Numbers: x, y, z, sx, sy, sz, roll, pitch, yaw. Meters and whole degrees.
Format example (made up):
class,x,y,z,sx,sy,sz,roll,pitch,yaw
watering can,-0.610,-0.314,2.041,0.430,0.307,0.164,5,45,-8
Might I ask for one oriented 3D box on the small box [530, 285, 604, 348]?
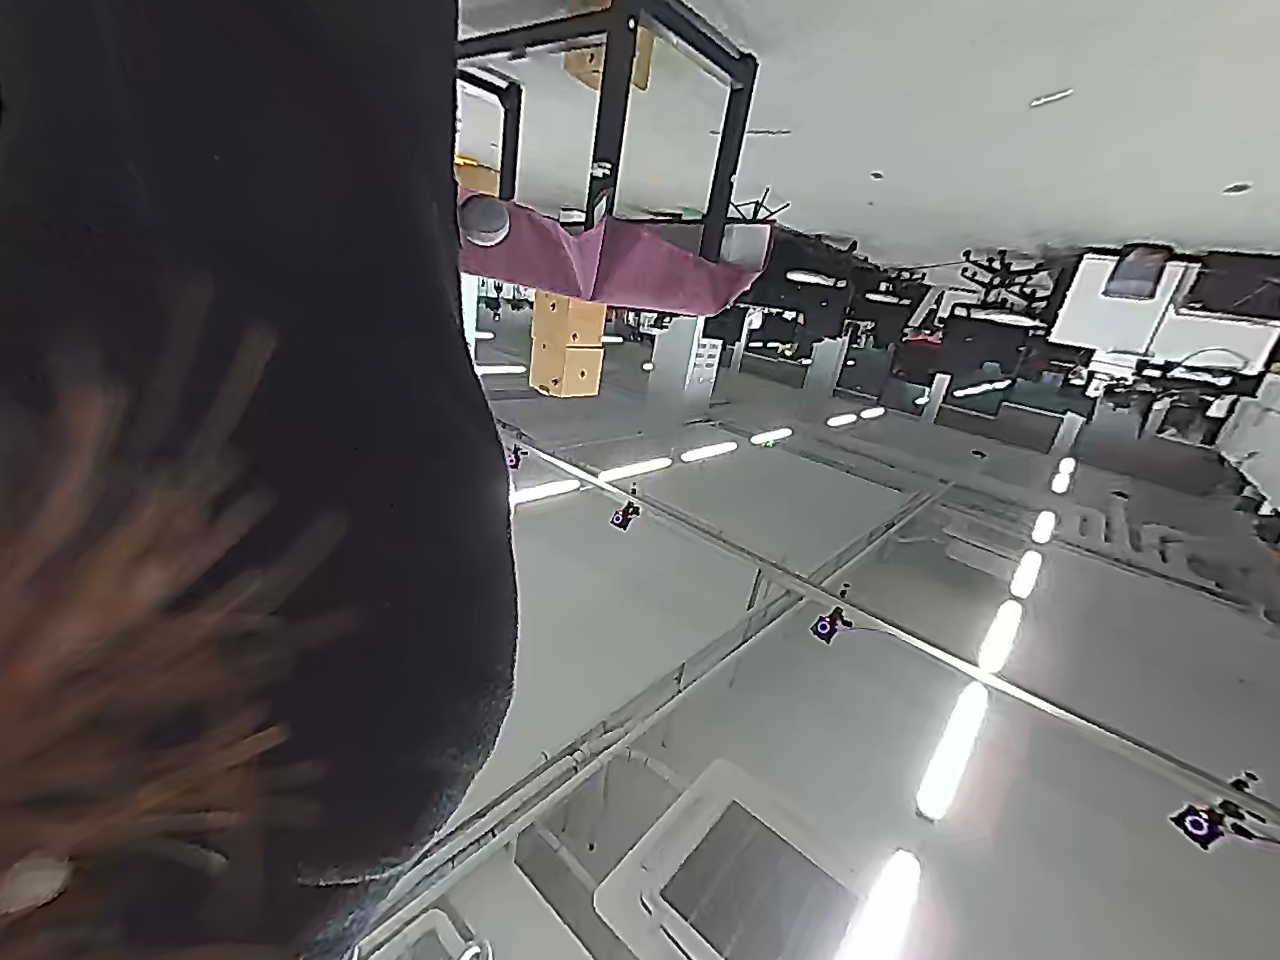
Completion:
class,x,y,z,sx,sy,sz,roll,pitch,yaw
small box,-0.238,-0.539,1.782,0.168,0.176,0.179,24,-155,34
